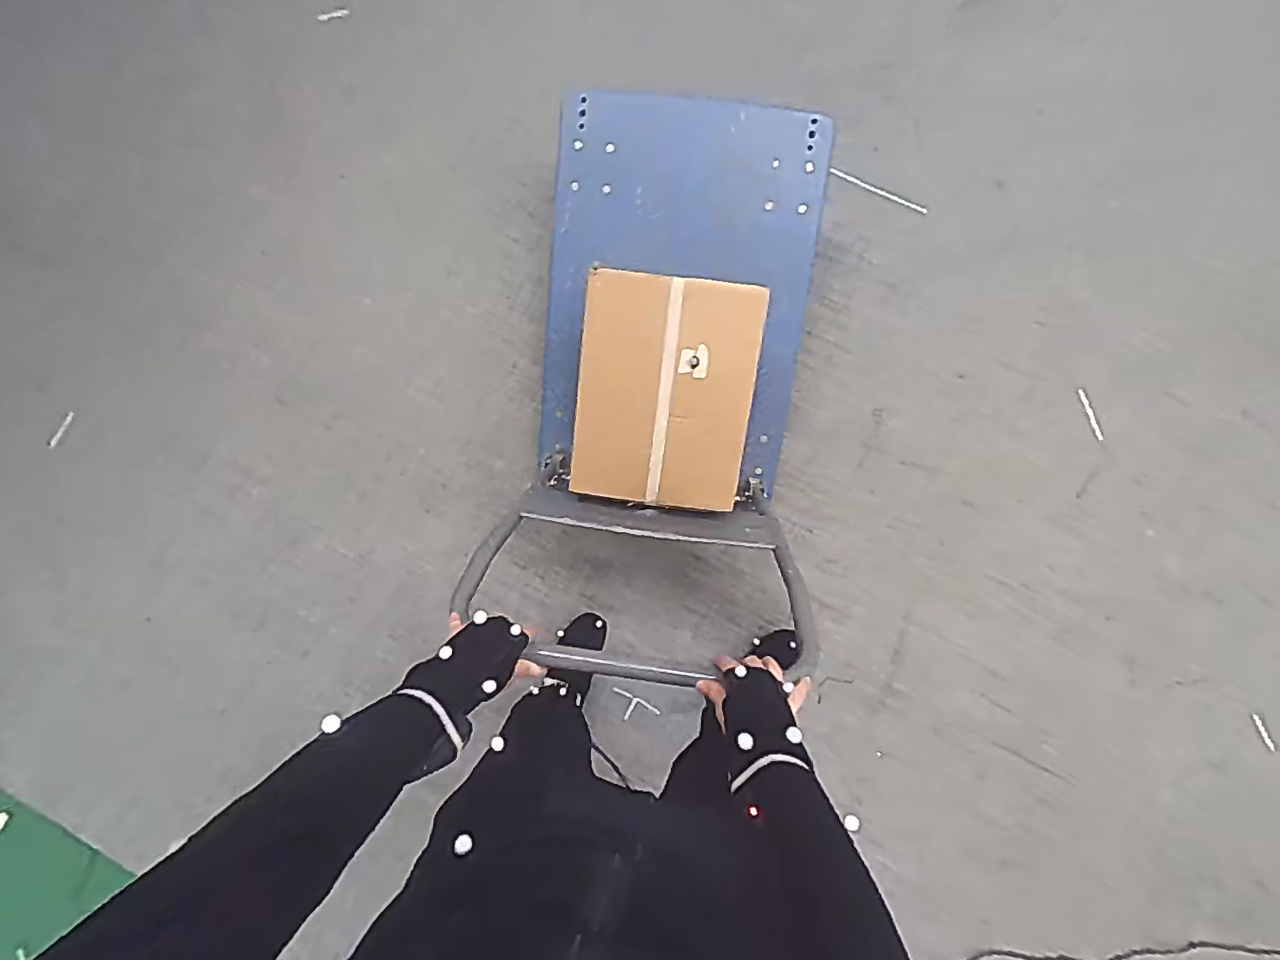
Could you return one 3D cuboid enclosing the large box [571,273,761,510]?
[{"bbox_3d":[0.051,-0.181,1.118,0.320,0.320,0.408,7,103,2],"label":"large box"}]
